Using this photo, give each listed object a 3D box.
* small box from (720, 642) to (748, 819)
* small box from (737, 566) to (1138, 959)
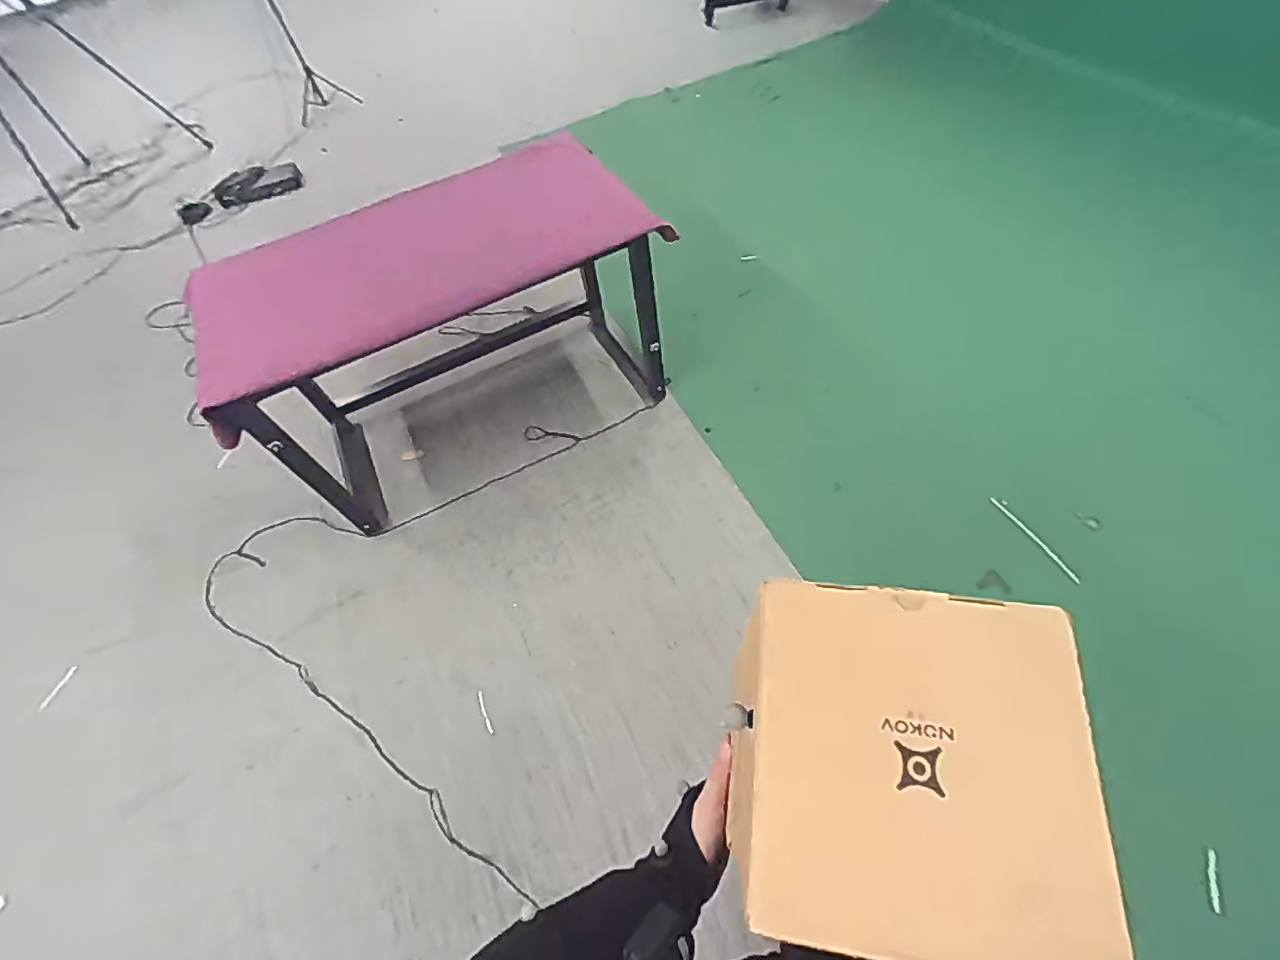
[{"bbox_3d":[0.185,0.304,0.636,0.168,0.176,0.179,6,65,10],"label":"small box"},{"bbox_3d":[0.151,0.169,0.343,0.168,0.176,0.179,4,65,10],"label":"small box"}]
